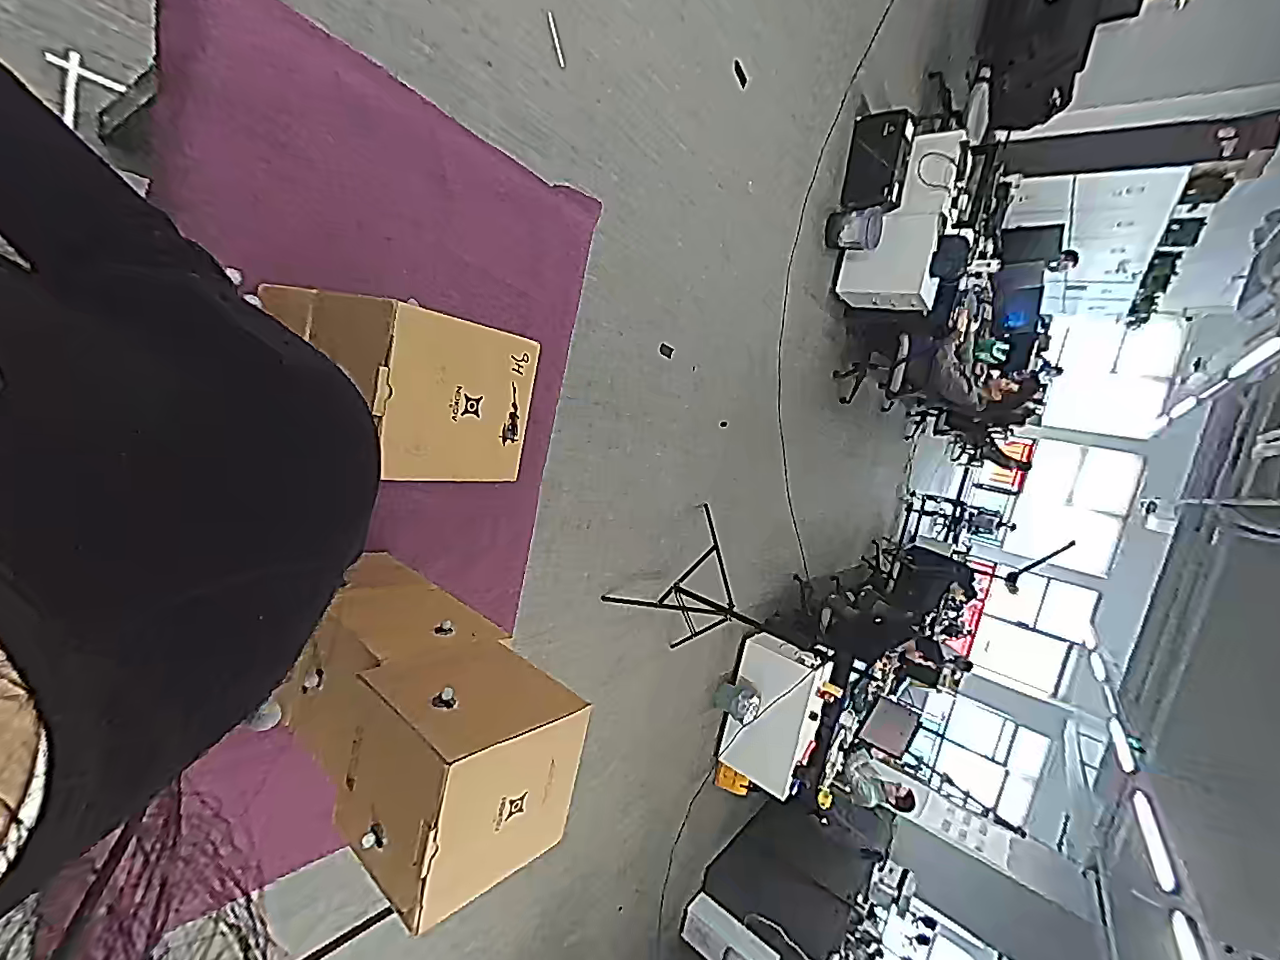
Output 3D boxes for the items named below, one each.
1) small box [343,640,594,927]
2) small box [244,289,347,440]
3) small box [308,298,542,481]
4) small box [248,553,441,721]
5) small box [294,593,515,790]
[{"bbox_3d":[-0.180,0.289,0.565,0.179,0.176,0.168,3,102,-54],"label":"small box"},{"bbox_3d":[-0.375,-0.136,0.695,0.179,0.176,0.168,6,99,-55],"label":"small box"},{"bbox_3d":[-0.242,-0.099,0.606,0.179,0.176,0.168,2,103,-54],"label":"small box"},{"bbox_3d":[-0.422,0.208,0.770,0.179,0.176,0.168,9,97,-55],"label":"small box"},{"bbox_3d":[-0.293,0.250,0.677,0.179,0.176,0.168,8,97,-54],"label":"small box"}]
